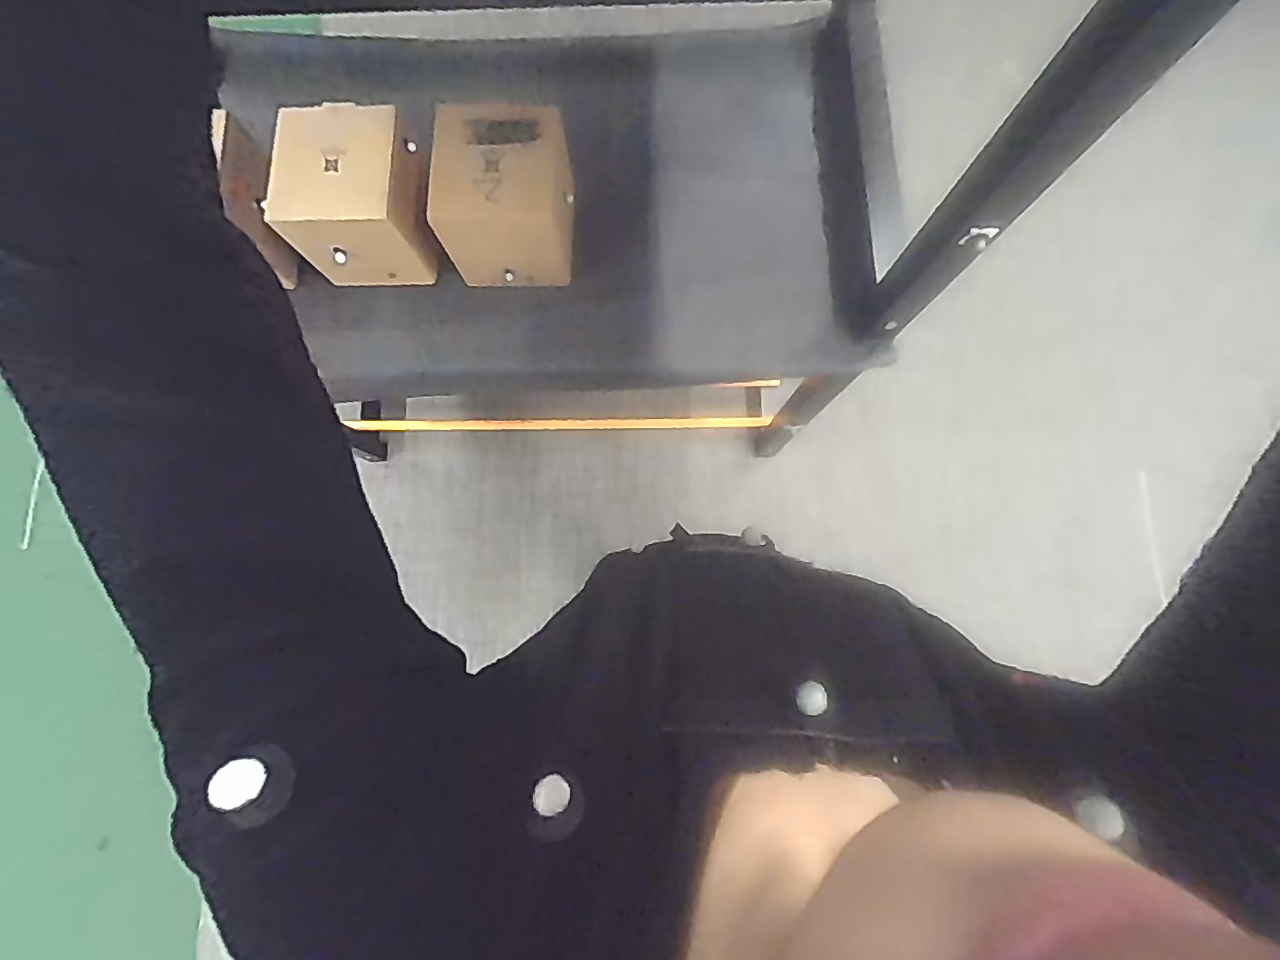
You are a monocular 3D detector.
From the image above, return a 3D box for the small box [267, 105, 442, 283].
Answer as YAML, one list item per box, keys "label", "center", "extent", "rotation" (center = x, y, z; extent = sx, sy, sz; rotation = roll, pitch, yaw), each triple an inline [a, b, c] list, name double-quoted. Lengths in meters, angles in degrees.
- label: "small box"
  center: [-0.405, -0.408, 0.797]
  extent: [0.168, 0.176, 0.179]
  rotation: [0, 79, 1]

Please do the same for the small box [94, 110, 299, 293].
- label: "small box"
  center: [-0.632, -0.401, 0.798]
  extent: [0.168, 0.176, 0.179]
  rotation: [-3, 80, 1]
